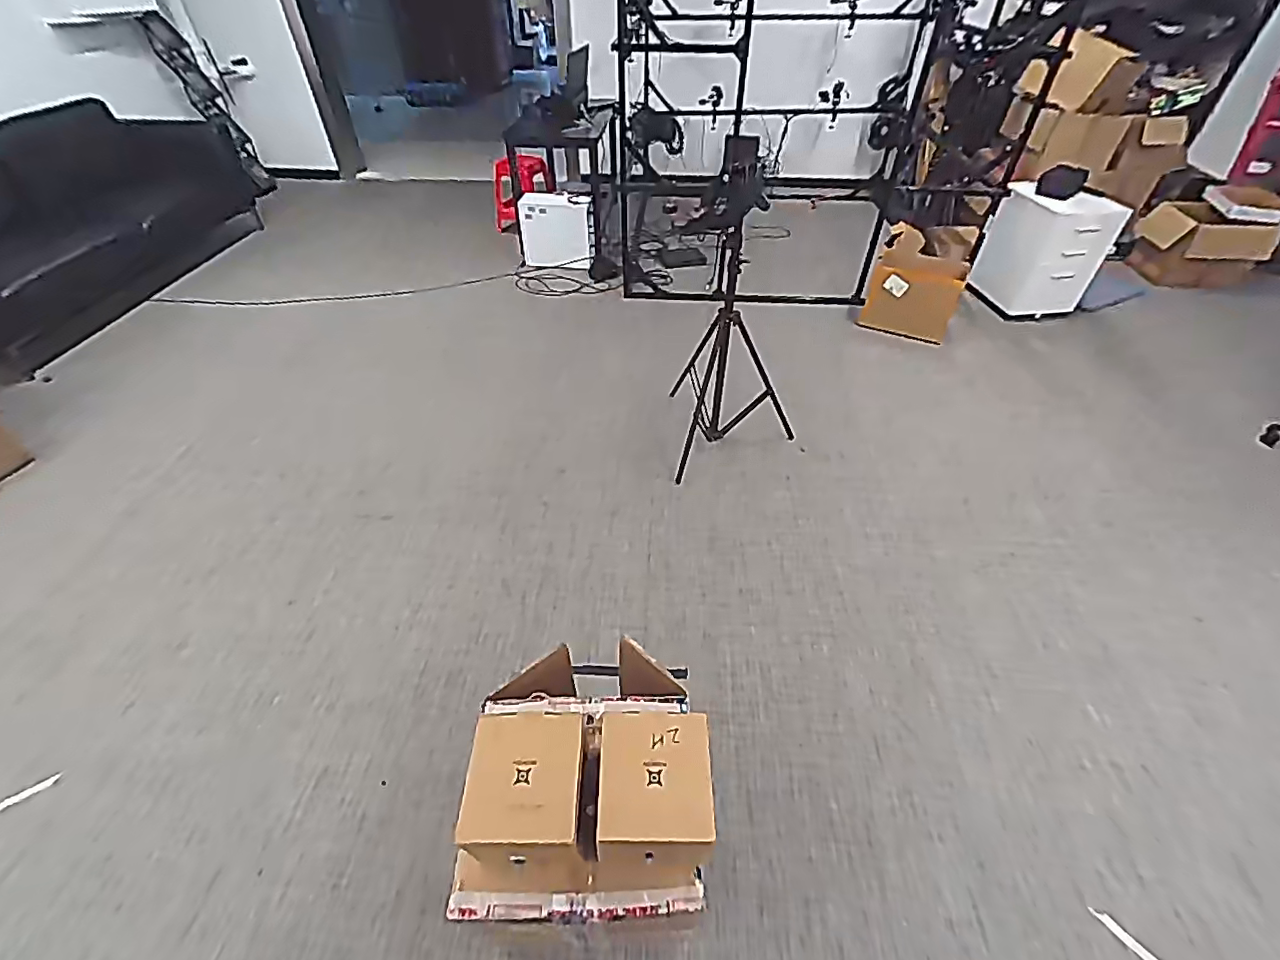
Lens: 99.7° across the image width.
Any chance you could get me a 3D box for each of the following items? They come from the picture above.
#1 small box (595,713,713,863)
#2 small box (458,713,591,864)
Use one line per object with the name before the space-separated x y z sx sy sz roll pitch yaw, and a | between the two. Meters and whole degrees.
small box | 0.020 0.487 0.852 0.168 0.176 0.179 1 46 -1
small box | -0.168 0.487 0.852 0.168 0.176 0.179 -2 48 0
